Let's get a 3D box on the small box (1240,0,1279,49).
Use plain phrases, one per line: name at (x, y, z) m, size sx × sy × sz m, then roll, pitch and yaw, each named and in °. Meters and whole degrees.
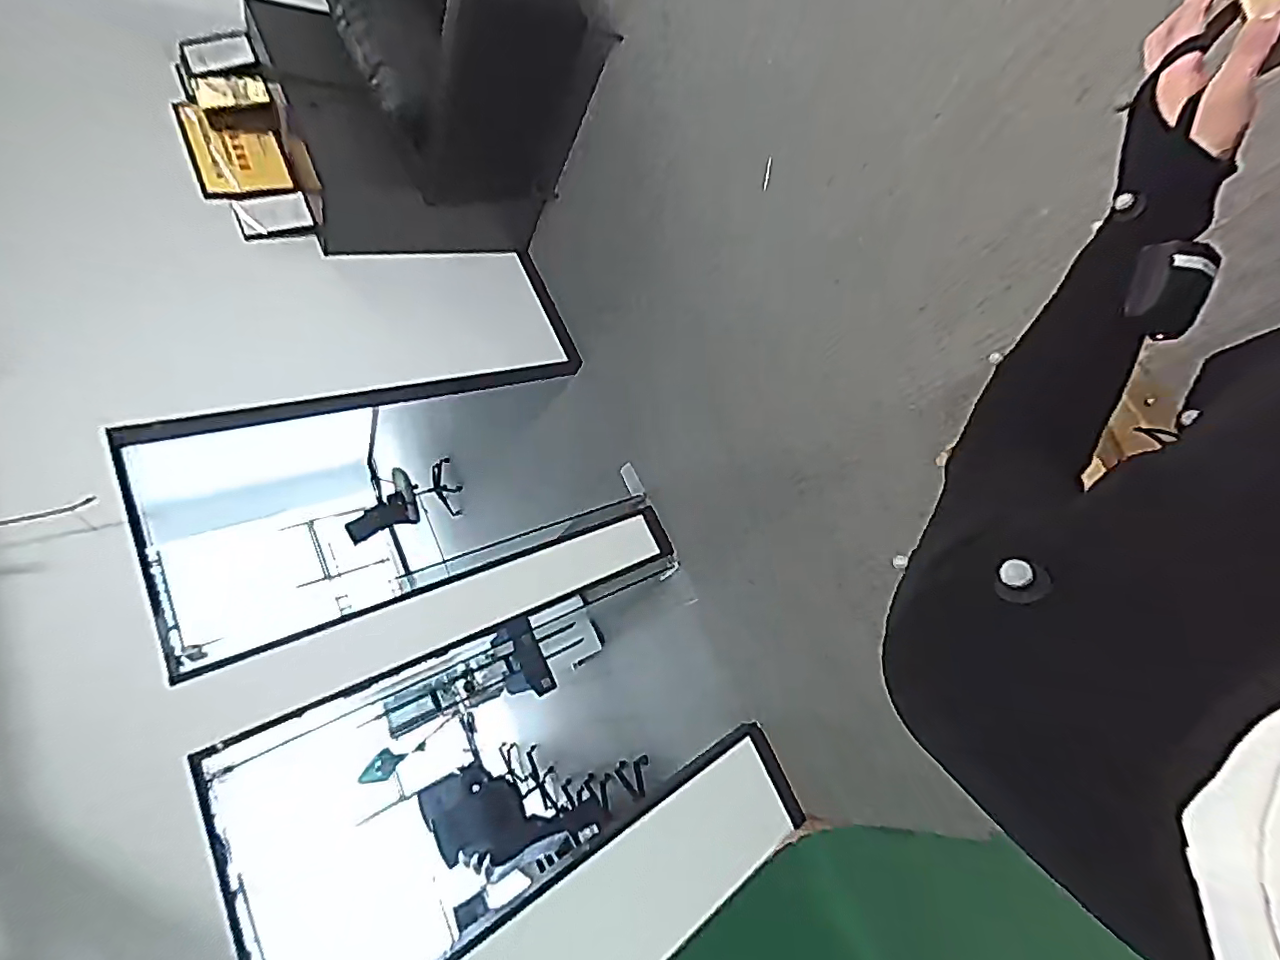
small box at (0.522, -0.449, 0.364) m, size 0.179 × 0.176 × 0.168 m, roll -18°, pitch 90°, yaw 52°
